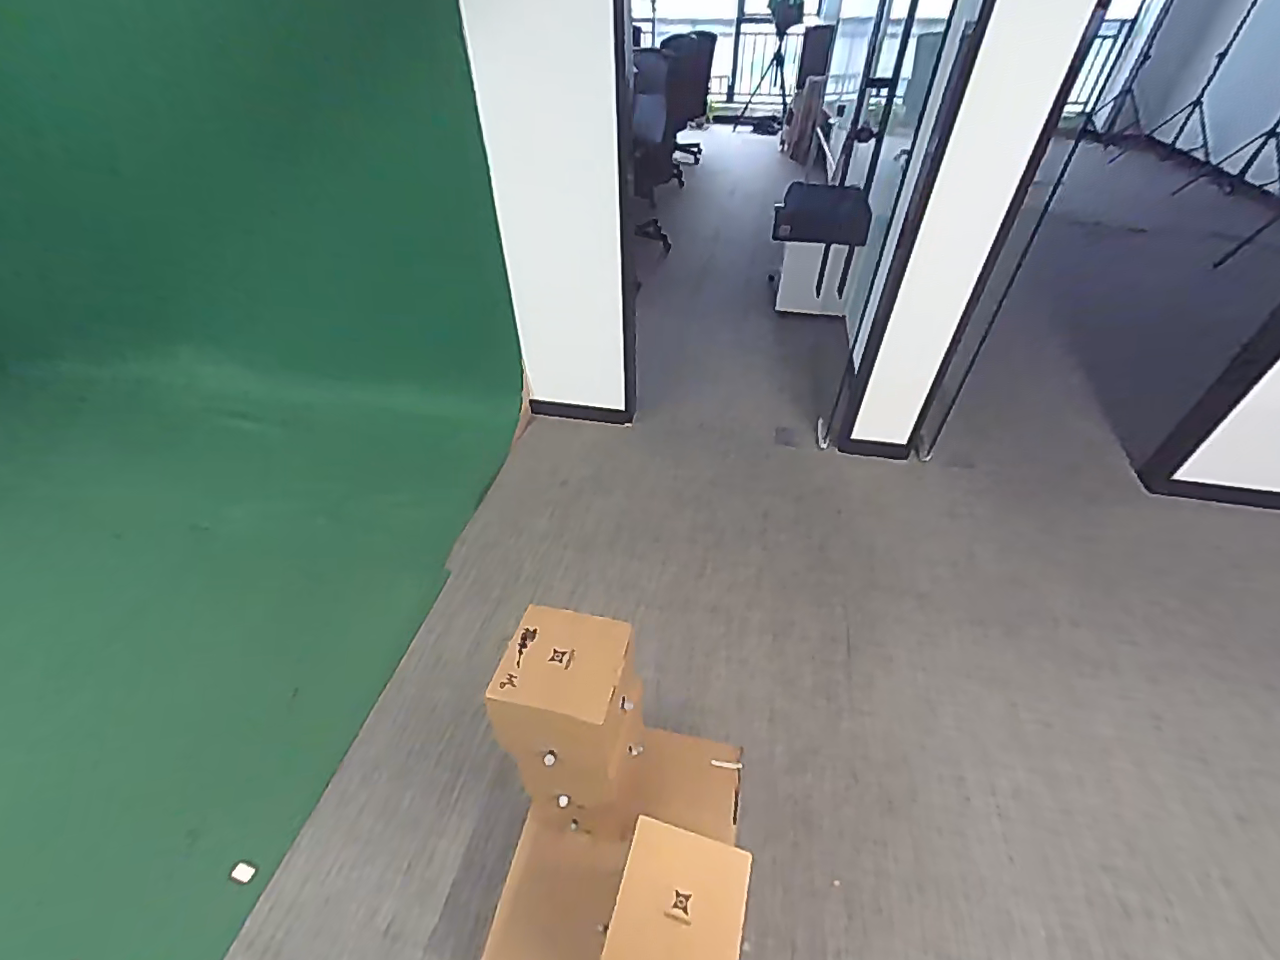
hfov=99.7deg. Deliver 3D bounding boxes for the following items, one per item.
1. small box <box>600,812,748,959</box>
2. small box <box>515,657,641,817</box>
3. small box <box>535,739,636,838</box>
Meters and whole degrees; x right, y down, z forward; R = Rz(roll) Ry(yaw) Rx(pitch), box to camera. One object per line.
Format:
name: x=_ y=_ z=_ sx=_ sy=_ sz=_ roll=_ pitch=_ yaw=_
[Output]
small box: x=0.047 y=0.613 z=0.762 sx=0.168 sy=0.176 sz=0.179 roll=12 pitch=43 yaw=11
small box: x=-0.100 y=0.448 z=0.947 sx=0.168 sy=0.176 sz=0.179 roll=10 pitch=41 yaw=11
small box: x=-0.105 y=0.564 z=1.065 sx=0.168 sy=0.176 sz=0.179 roll=8 pitch=40 yaw=10
